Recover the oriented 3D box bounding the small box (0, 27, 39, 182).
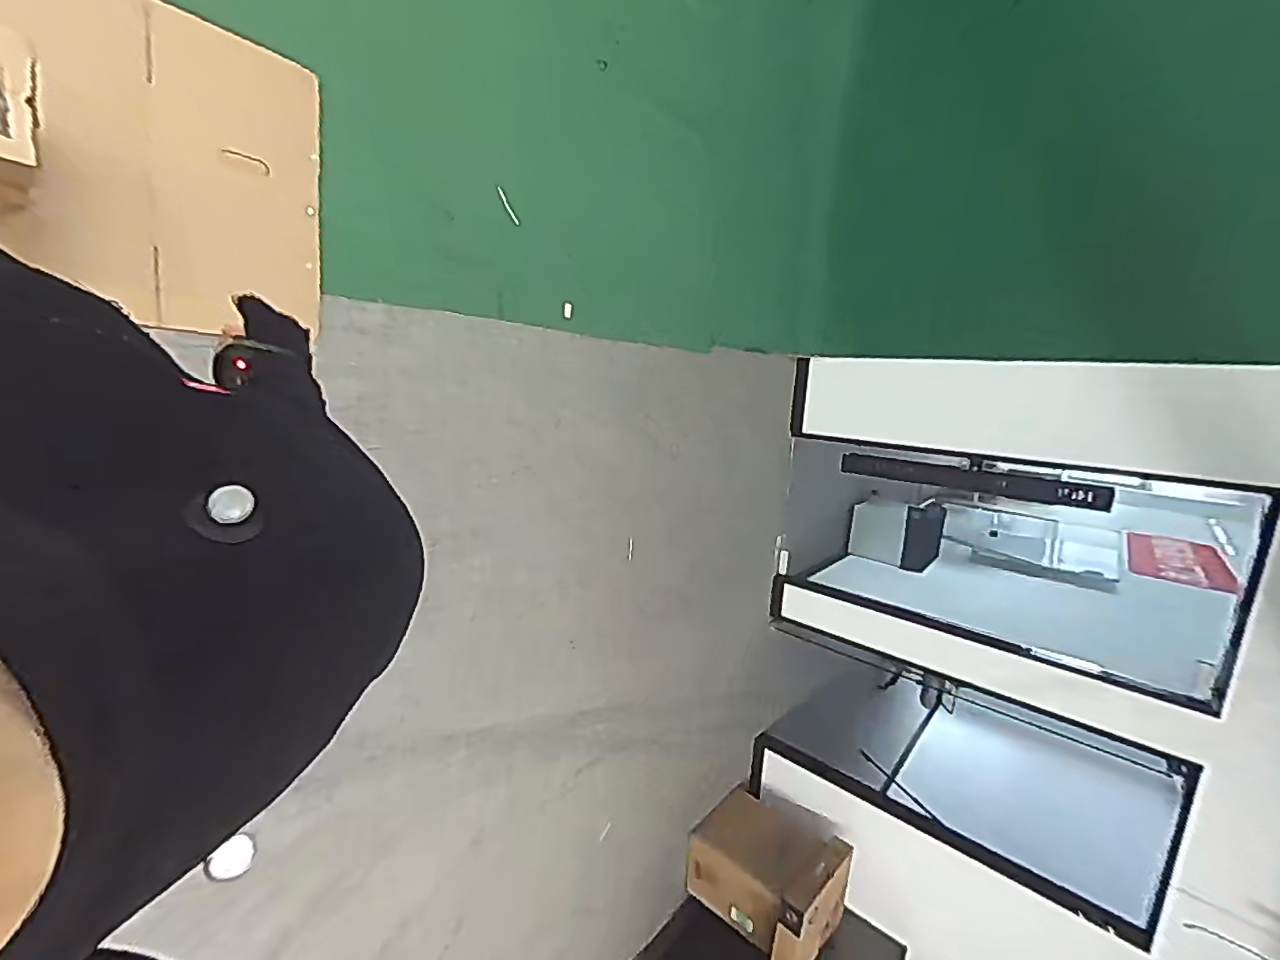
[{"bbox_3d":[-0.931,-0.520,0.718,0.179,0.176,0.168,0,100,-47],"label":"small box"}]
